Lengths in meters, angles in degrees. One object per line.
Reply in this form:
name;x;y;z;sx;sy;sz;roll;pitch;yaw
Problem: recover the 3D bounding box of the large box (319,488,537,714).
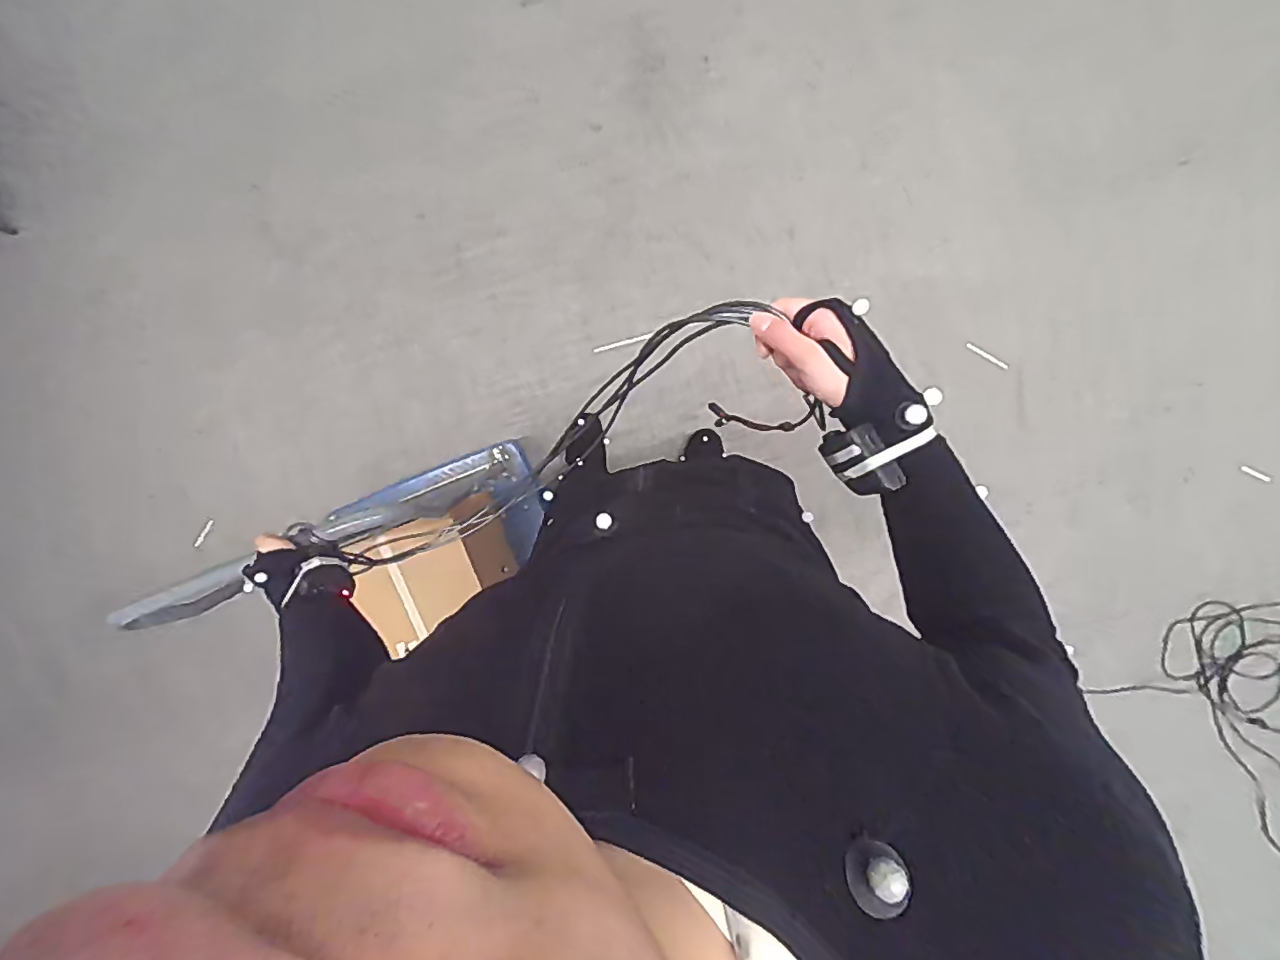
large box;-0.487;0.272;1.332;0.320;0.320;0.408;-20;97;2
